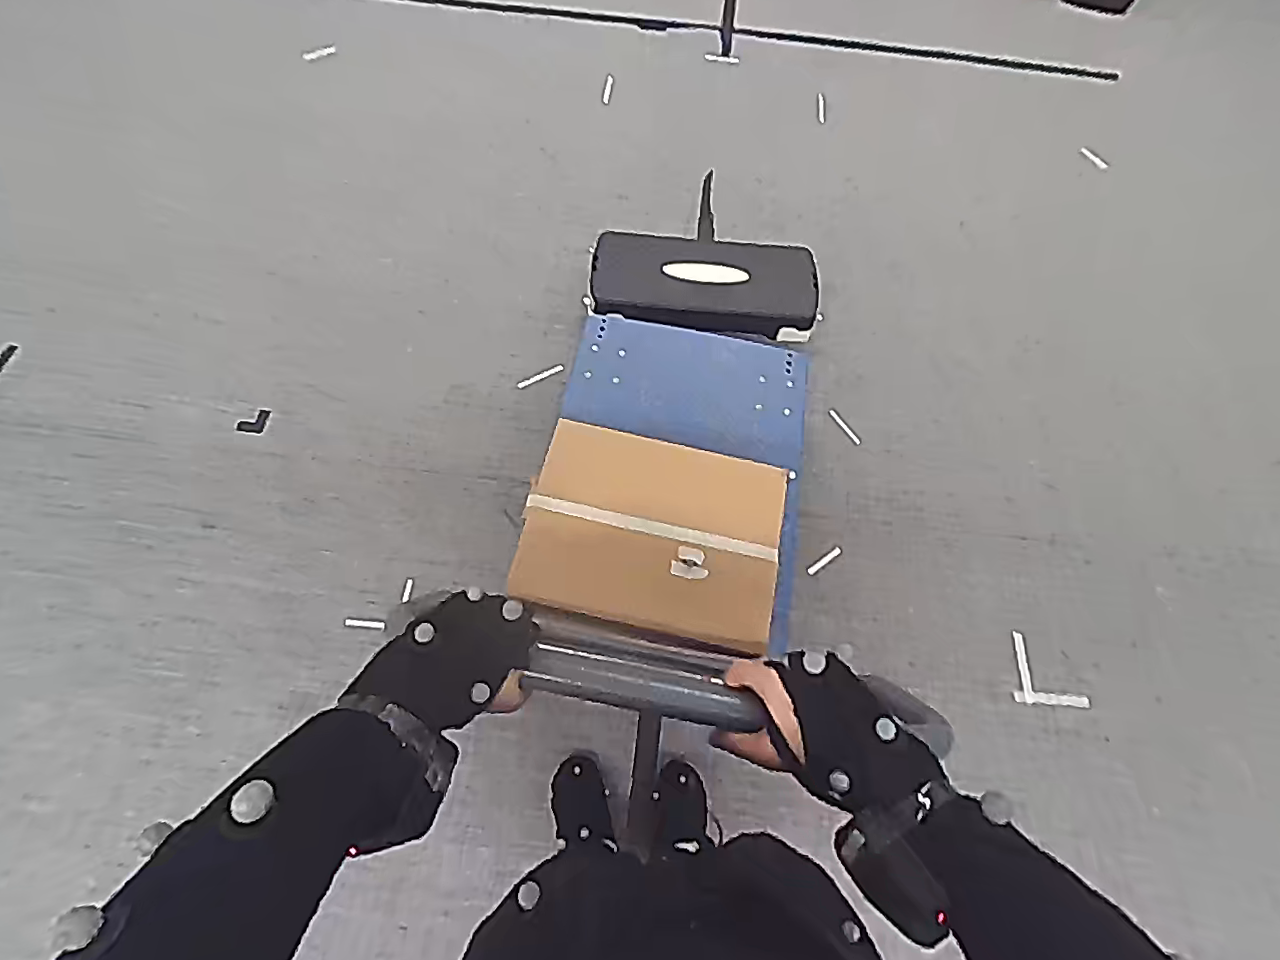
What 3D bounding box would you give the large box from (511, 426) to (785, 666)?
[{"bbox_3d":[0.014,0.139,1.005,0.408,0.320,0.320,13,68,1],"label":"large box"}]
